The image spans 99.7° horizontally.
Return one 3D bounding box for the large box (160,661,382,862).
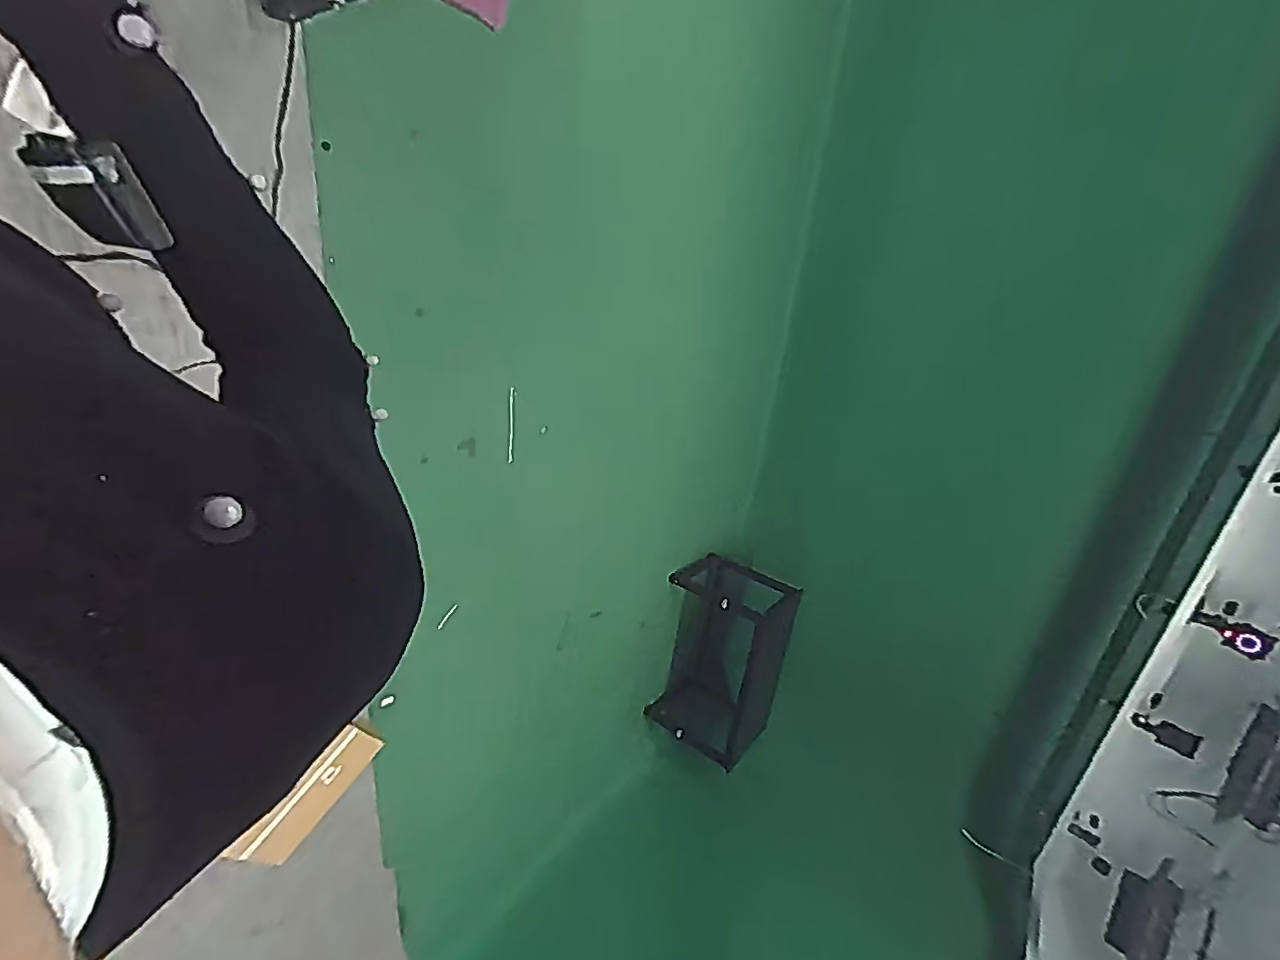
[{"bbox_3d":[-1.100,0.844,1.639,0.408,0.320,0.320,-52,144,-26],"label":"large box"}]
